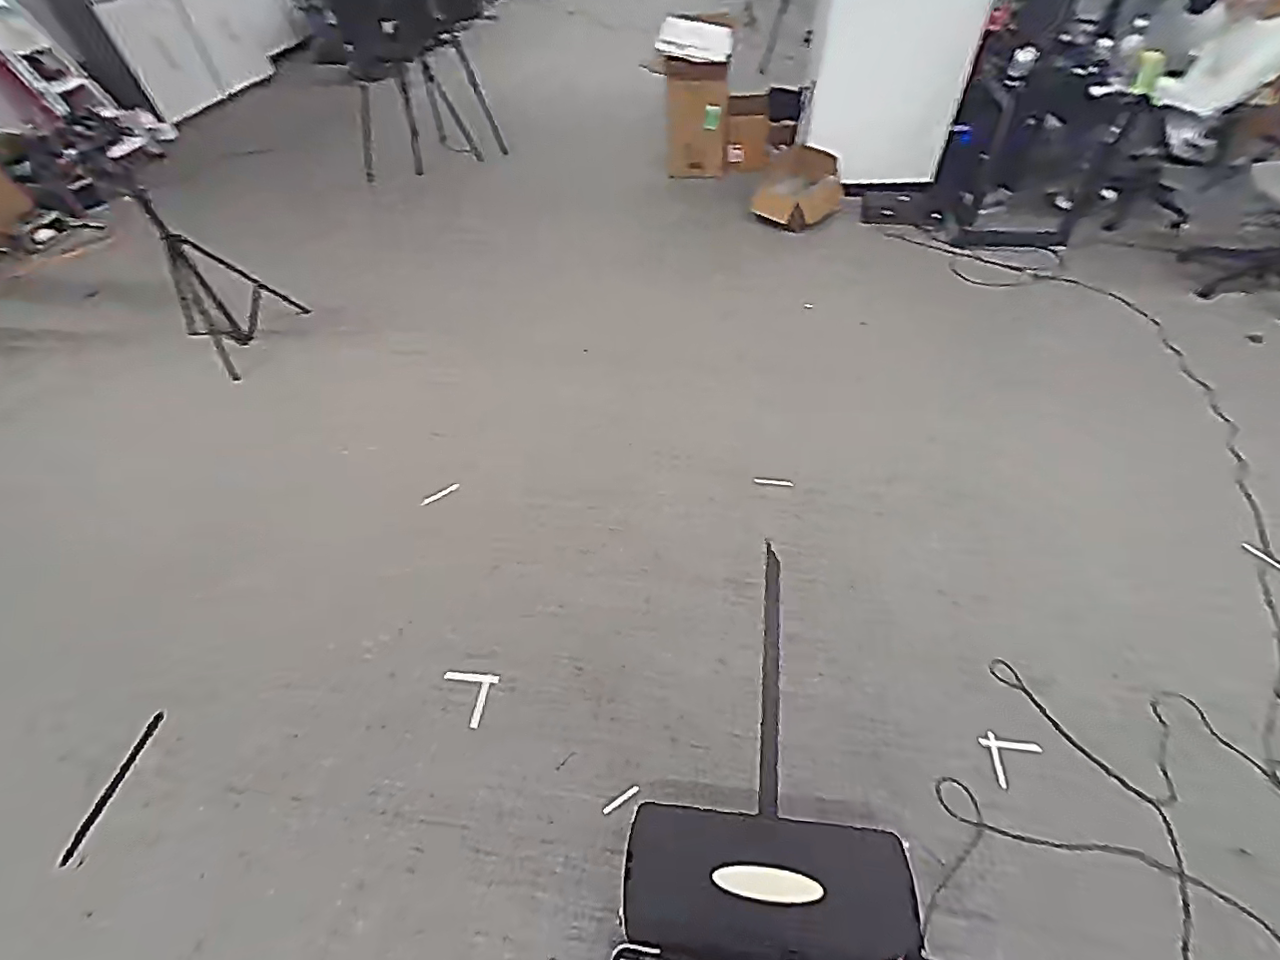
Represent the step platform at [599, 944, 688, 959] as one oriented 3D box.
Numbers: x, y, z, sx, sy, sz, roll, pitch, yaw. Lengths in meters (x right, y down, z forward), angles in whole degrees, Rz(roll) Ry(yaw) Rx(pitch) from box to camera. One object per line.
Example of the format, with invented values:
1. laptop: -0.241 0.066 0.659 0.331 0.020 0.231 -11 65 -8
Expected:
1. step platform: 0.221 1.154 1.068 0.684 0.204 0.286 2 51 8
